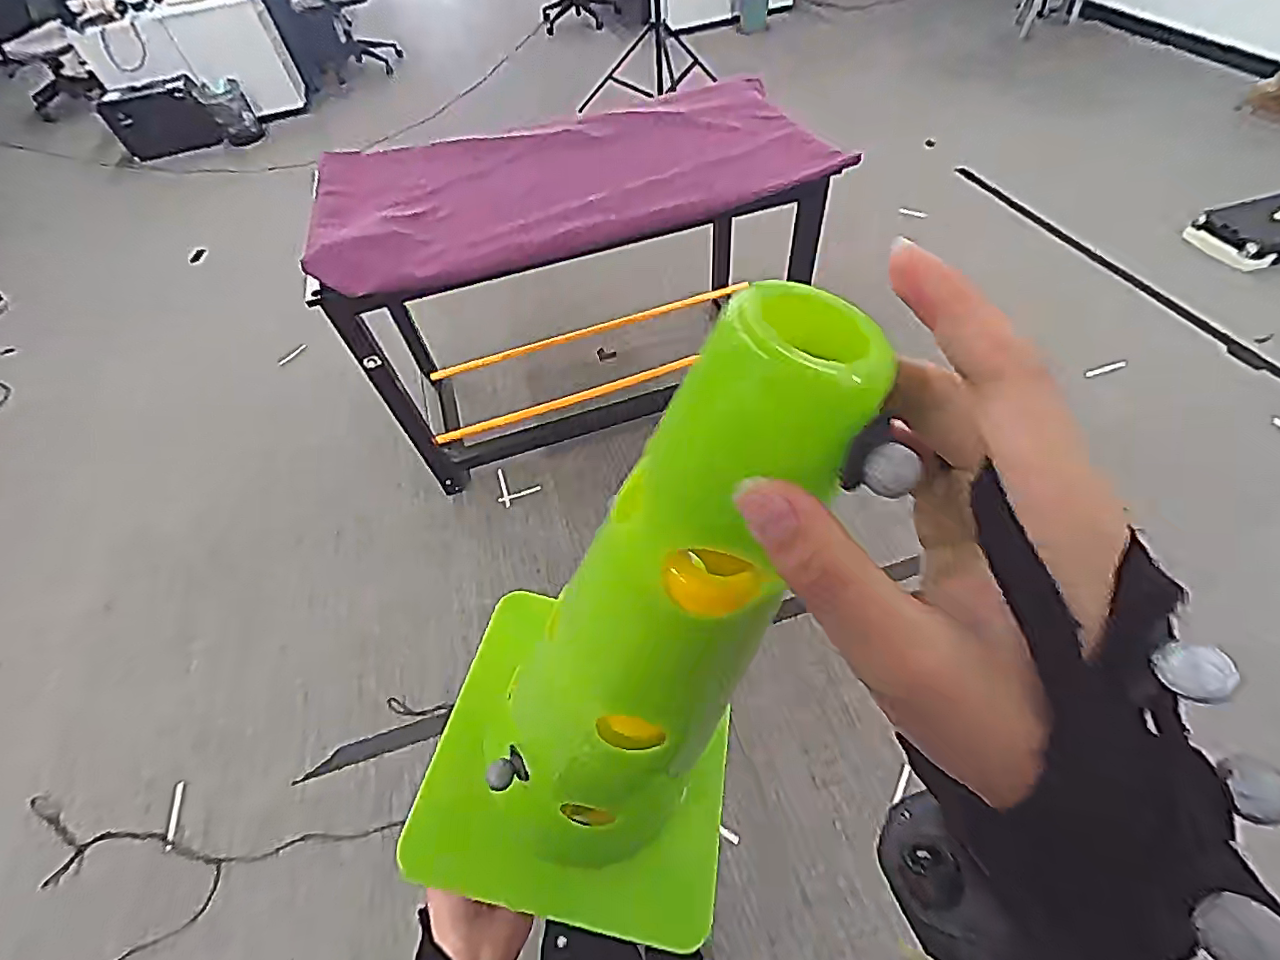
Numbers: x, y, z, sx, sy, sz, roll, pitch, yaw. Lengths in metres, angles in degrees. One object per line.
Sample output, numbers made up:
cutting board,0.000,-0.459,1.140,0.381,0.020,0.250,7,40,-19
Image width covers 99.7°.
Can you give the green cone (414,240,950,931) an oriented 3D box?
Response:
green cone,0.007,0.067,0.251,0.200,0.368,0.202,16,49,-2
